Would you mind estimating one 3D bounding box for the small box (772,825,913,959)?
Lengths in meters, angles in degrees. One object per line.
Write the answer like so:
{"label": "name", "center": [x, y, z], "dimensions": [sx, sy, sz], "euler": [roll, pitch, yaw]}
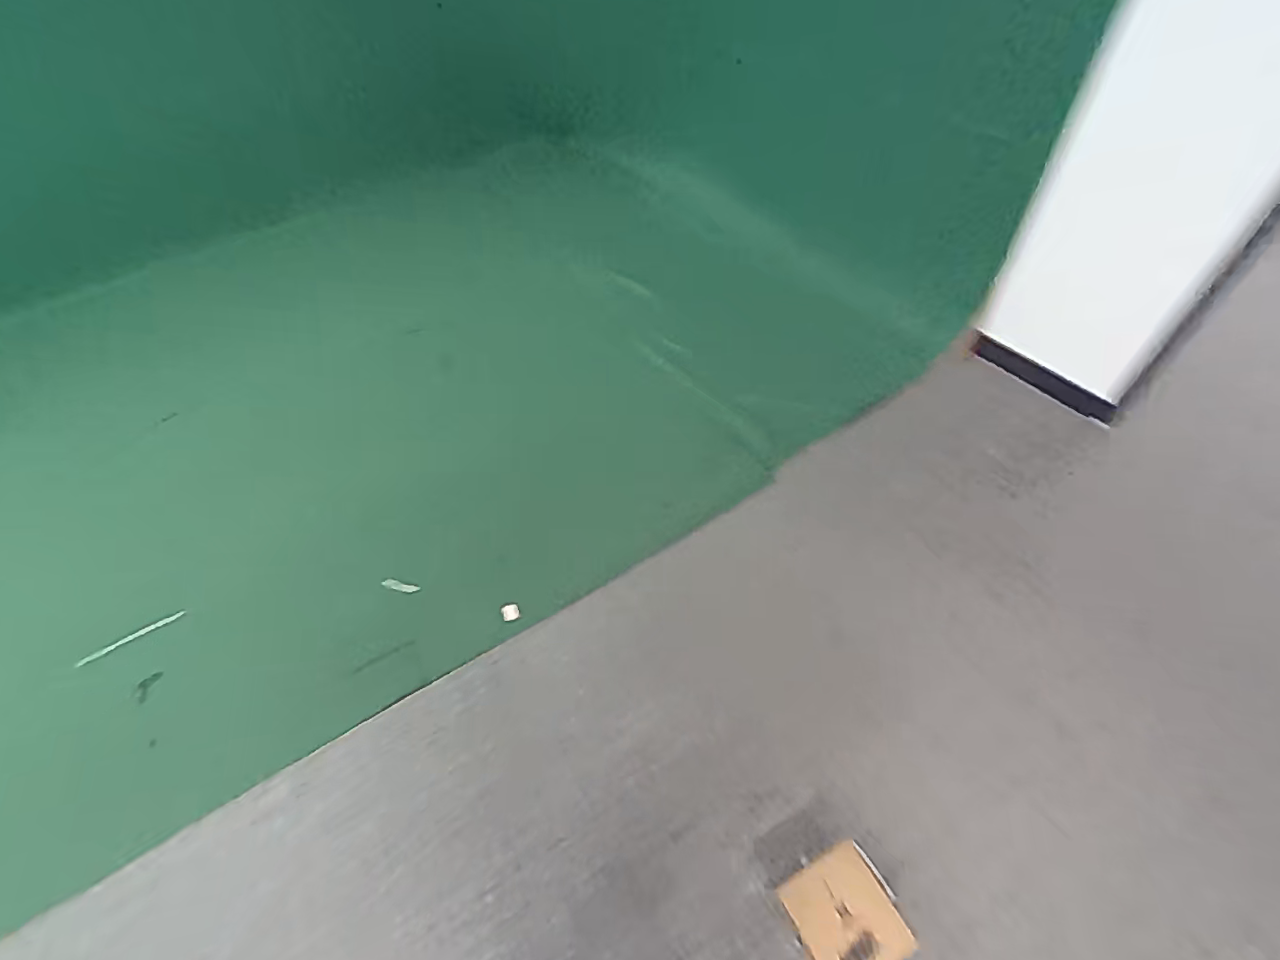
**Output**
{"label": "small box", "center": [0.368, 0.787, 1.020], "dimensions": [0.168, 0.176, 0.179], "euler": [-23, 54, -11]}
